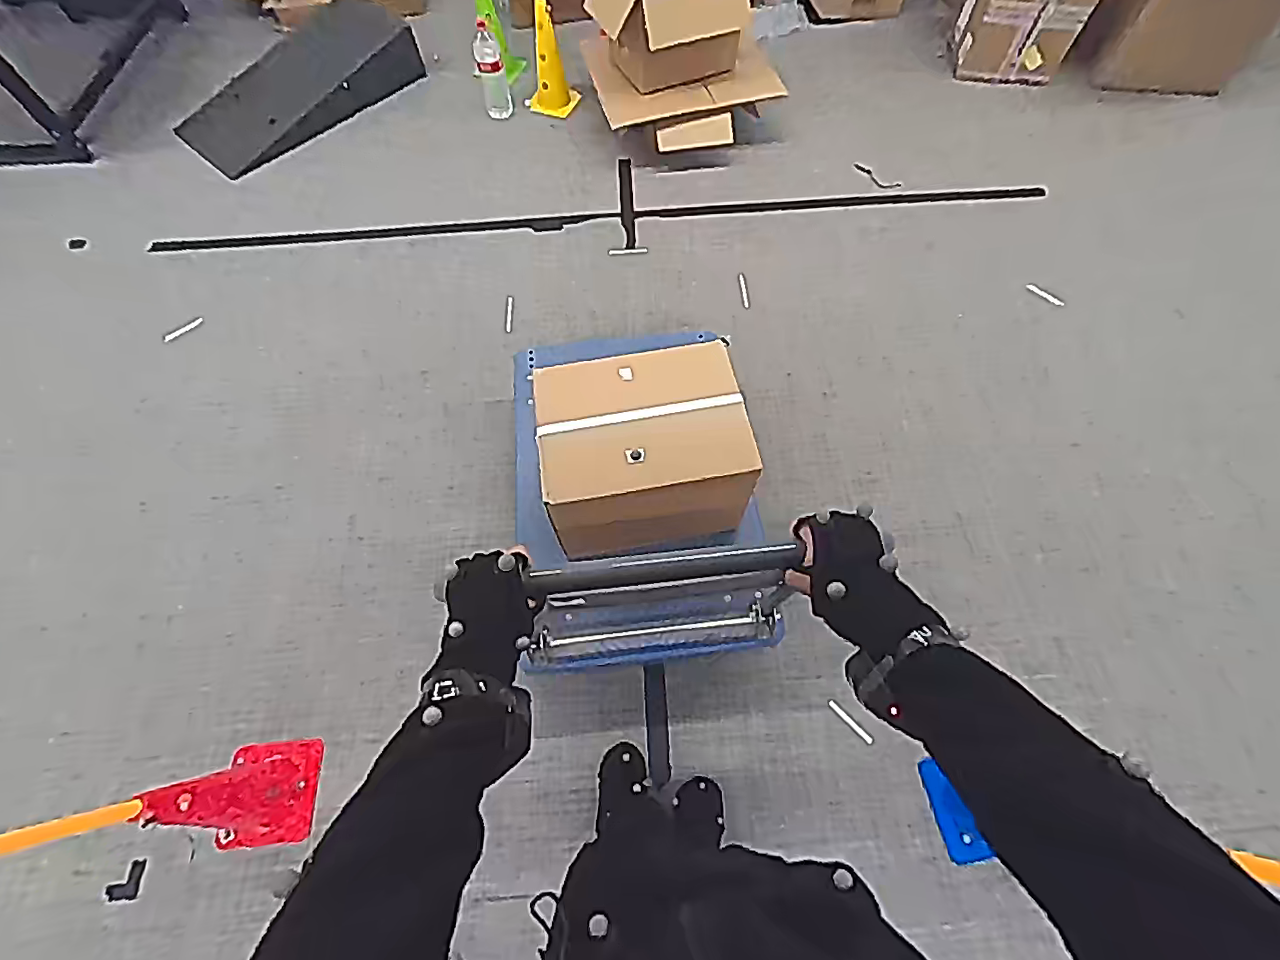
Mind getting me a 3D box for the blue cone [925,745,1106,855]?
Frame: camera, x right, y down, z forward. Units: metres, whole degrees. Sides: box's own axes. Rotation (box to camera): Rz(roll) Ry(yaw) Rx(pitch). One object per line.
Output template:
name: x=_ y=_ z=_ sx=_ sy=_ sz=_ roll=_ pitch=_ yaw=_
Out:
blue cone: x=0.732 y=0.614 z=1.024 sx=0.193 sy=0.380 sz=0.192 roll=-7 pitch=63 yaw=-3
